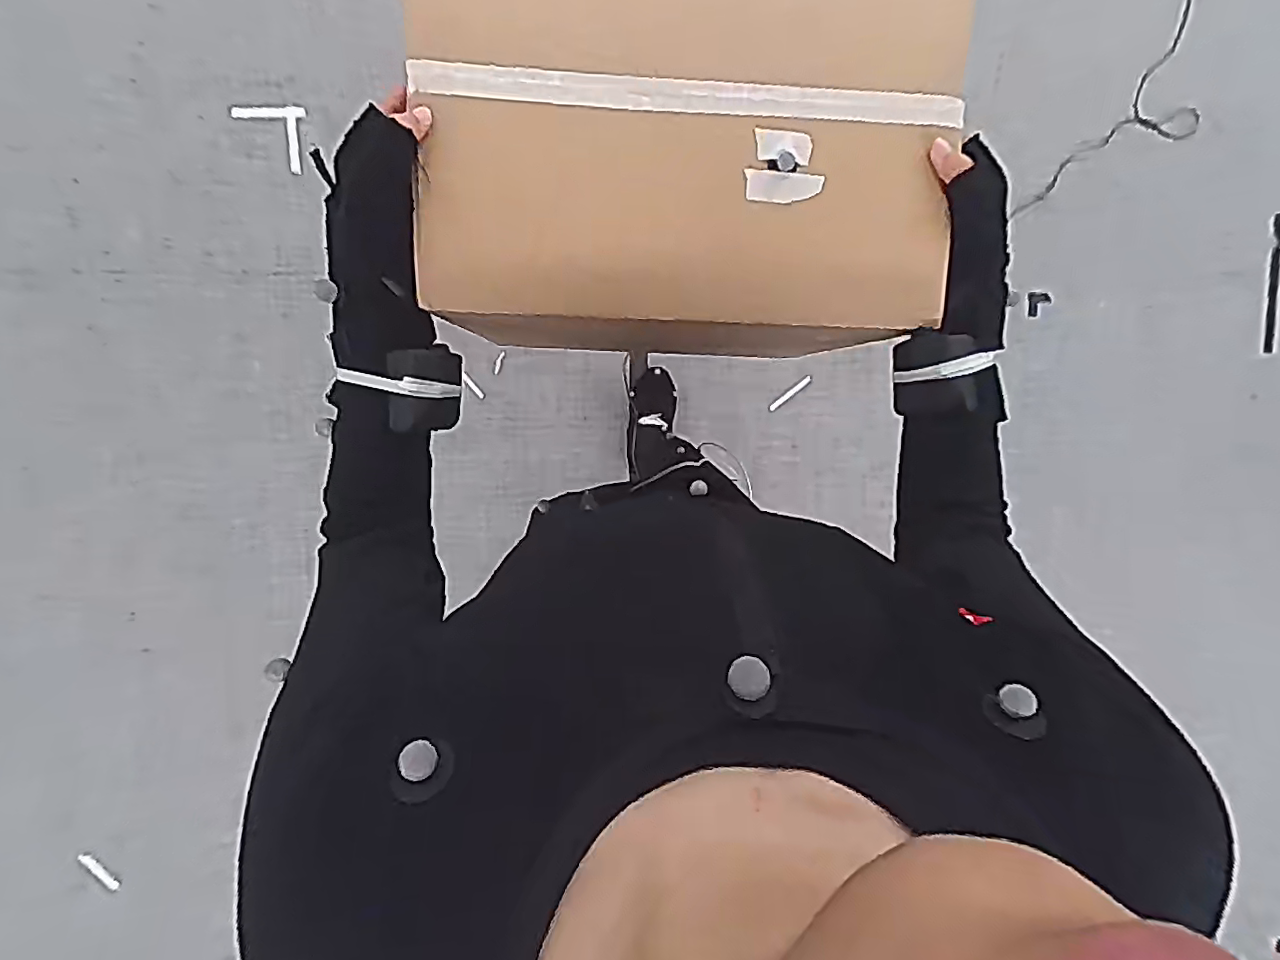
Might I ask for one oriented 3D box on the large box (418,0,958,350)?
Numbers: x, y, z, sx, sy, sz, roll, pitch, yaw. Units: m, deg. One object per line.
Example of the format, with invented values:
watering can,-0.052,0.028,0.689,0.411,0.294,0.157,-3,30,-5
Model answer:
large box,0.026,-0.304,0.550,0.408,0.320,0.320,1,100,-5
